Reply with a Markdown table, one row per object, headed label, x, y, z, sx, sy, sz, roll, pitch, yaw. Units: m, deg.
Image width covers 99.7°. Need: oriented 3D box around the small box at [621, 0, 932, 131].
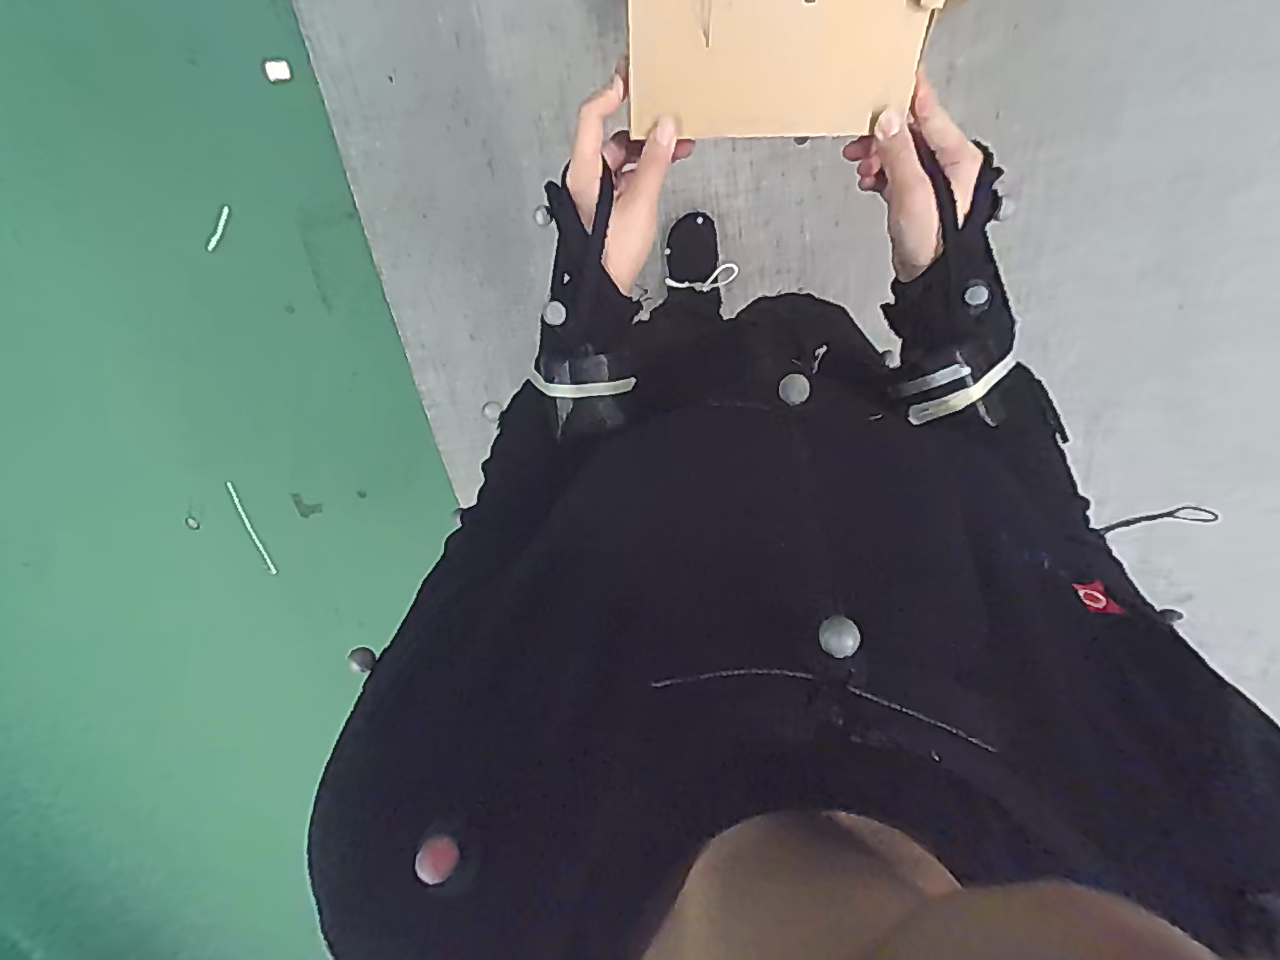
| label | x | y | z | sx | sy | sz | roll | pitch | yaw |
| --- | --- | --- | --- | --- | --- | --- | --- | --- | --- |
| small box | 0.075 | -0.335 | 0.348 | 0.179 | 0.176 | 0.168 | -1 | 129 | 1 |
